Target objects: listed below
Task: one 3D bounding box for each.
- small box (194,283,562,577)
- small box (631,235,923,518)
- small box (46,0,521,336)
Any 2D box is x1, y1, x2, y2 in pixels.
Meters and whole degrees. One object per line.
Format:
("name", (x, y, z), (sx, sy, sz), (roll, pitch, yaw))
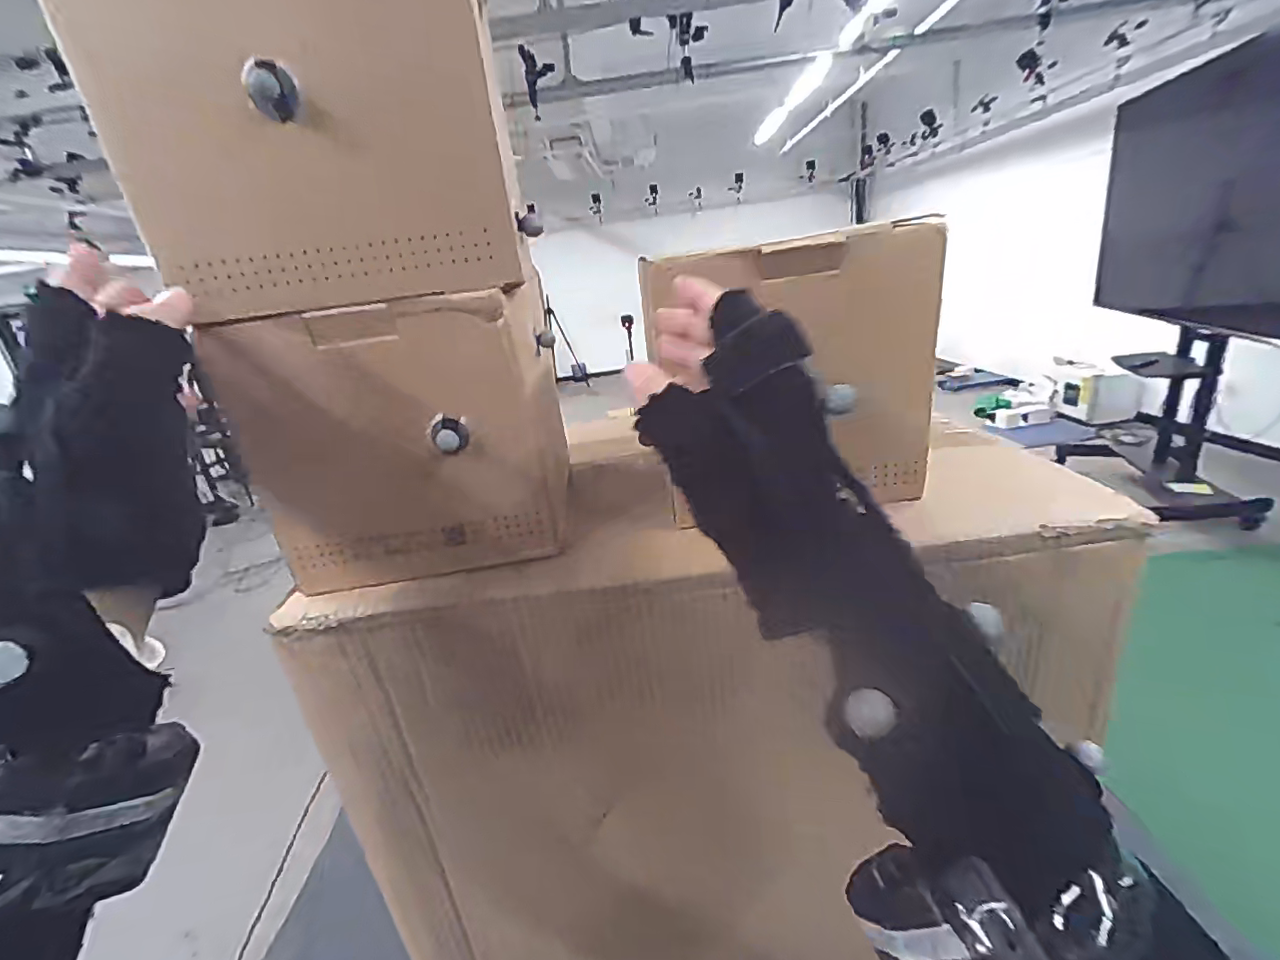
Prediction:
("small box", (-0.153, -0.041, 0.394), (0.168, 0.176, 0.179), (-8, 22, -2))
("small box", (0.085, -0.080, 0.406), (0.168, 0.176, 0.179), (-7, 23, 1))
("small box", (-0.169, -0.189, 0.325), (0.179, 0.176, 0.168), (-9, 24, -9))
